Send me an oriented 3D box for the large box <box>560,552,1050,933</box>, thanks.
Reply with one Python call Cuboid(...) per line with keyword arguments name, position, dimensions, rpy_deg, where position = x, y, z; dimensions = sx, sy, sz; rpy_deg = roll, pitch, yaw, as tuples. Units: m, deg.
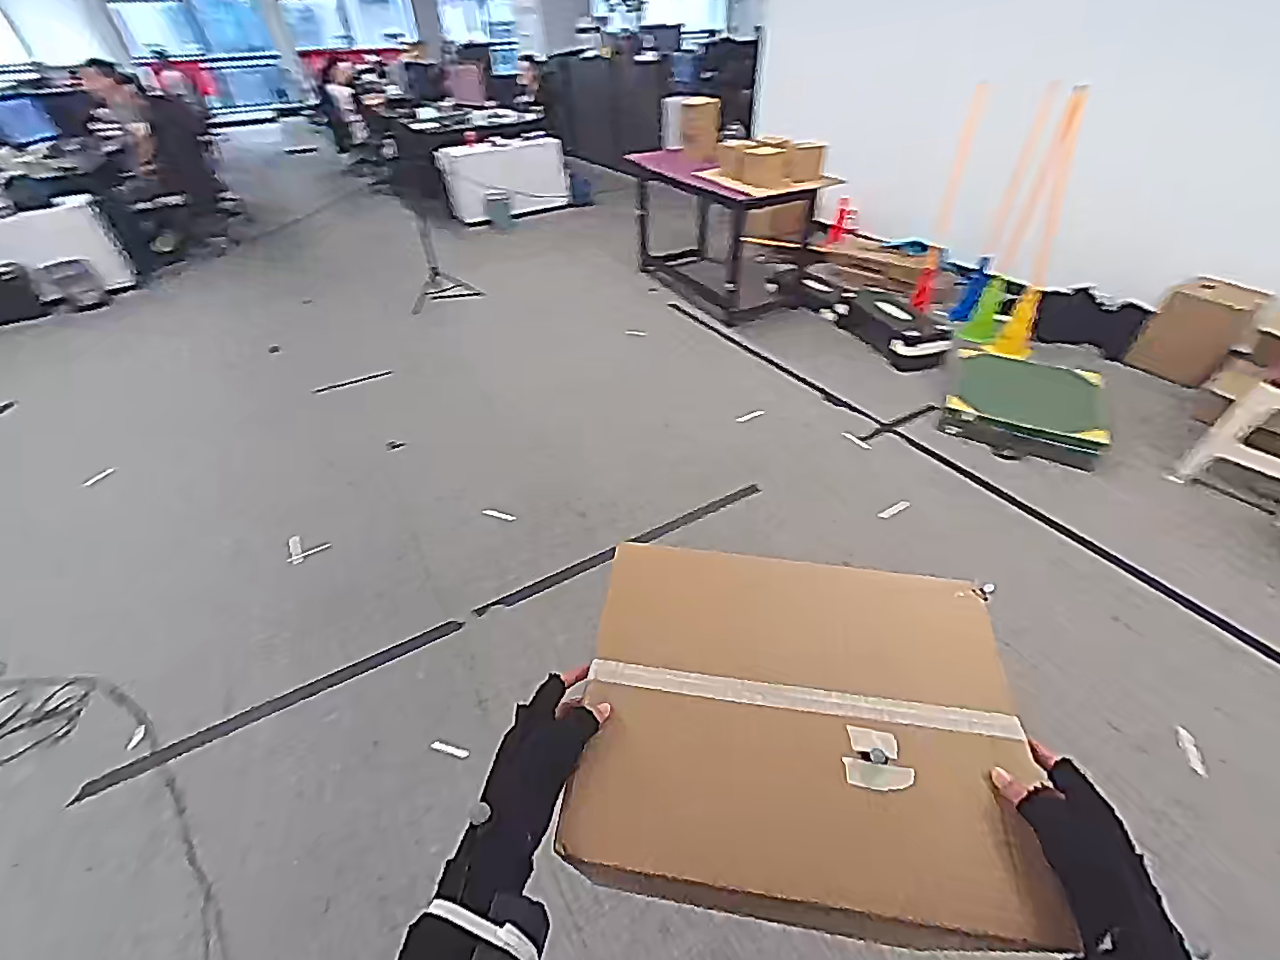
Cuboid(name="large box", position=(0.146, 0.313, 0.648), dimensions=(0.408, 0.320, 0.320), rpy_deg=(5, 50, 6))
